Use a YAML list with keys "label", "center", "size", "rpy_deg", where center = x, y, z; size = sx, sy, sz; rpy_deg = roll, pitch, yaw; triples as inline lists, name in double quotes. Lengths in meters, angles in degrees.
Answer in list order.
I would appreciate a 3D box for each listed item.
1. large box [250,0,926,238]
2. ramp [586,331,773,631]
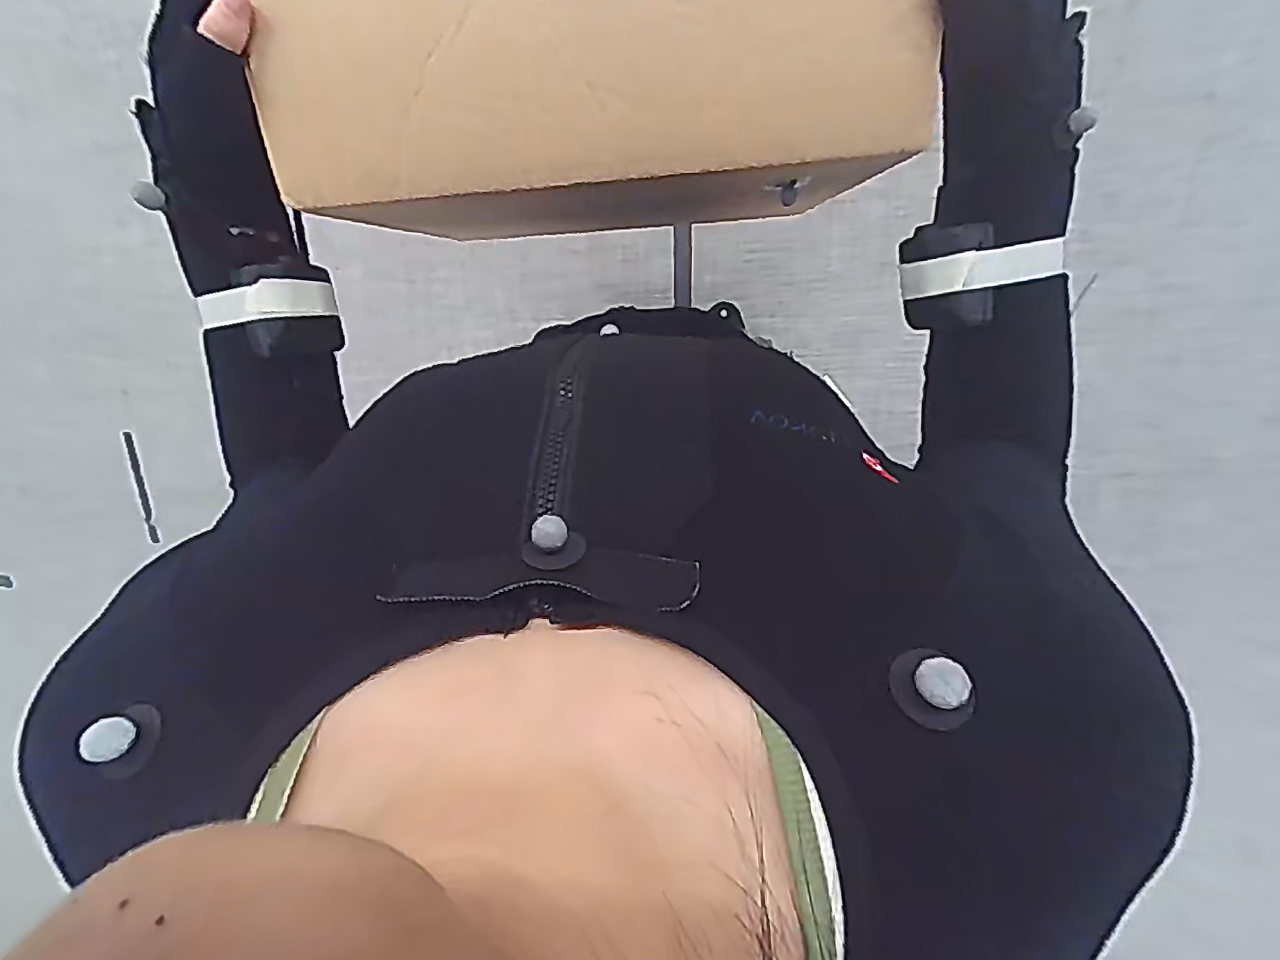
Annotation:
- label: "large box"
  center: [-0.031, -0.387, 0.437]
  size: [0.408, 0.320, 0.320]
  rpy_deg: [-3, 110, 4]
- label: "ramp"
  center: [0.129, 0.068, 1.624]
  size: [0.509, 0.206, 0.991]
  rpy_deg: [-3, 107, 5]
